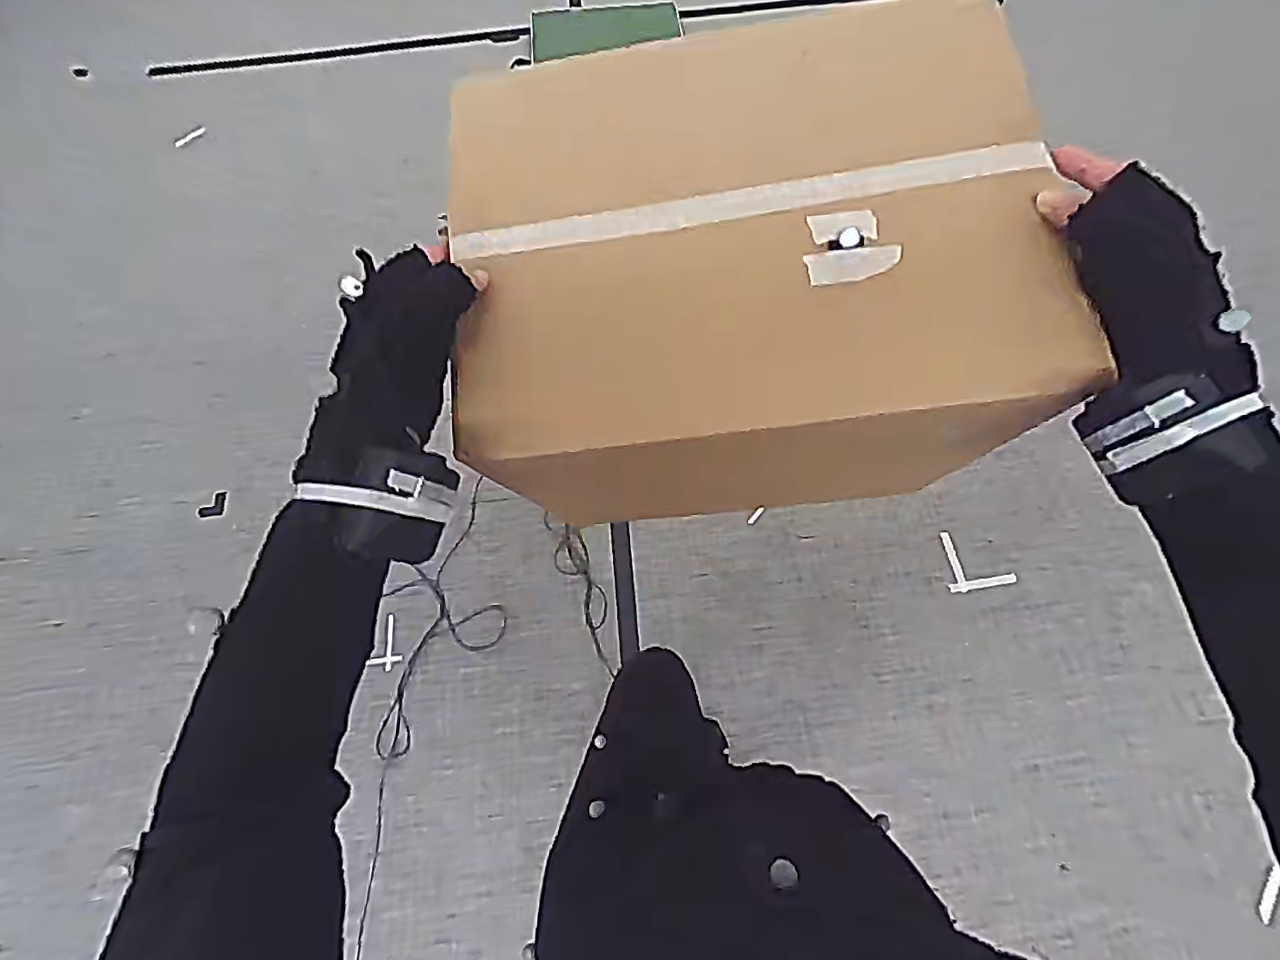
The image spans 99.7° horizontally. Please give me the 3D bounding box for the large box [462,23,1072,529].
[{"bbox_3d":[0.079,-0.144,0.536,0.408,0.320,0.320,-7,77,5],"label":"large box"}]
